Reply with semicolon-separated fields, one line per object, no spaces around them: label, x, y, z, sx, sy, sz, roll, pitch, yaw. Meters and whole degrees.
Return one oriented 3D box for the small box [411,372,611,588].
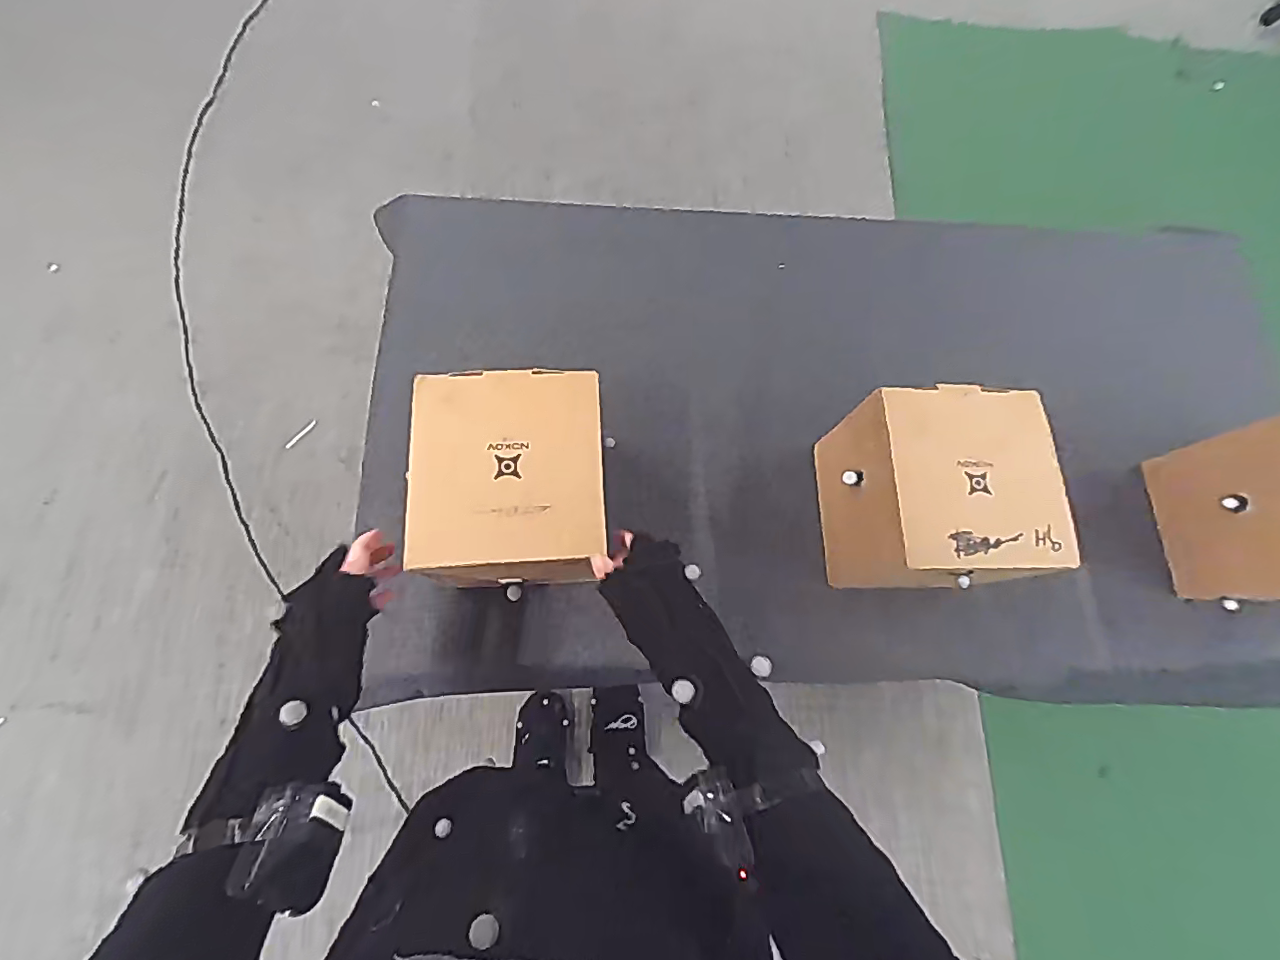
small box;-0.118;0.008;0.549;0.168;0.176;0.179;-3;74;-5

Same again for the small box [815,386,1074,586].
small box;0.303;0.016;0.582;0.168;0.176;0.179;0;73;-4

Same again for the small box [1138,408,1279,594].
small box;0.729;0.034;0.608;0.168;0.176;0.179;1;72;-3
